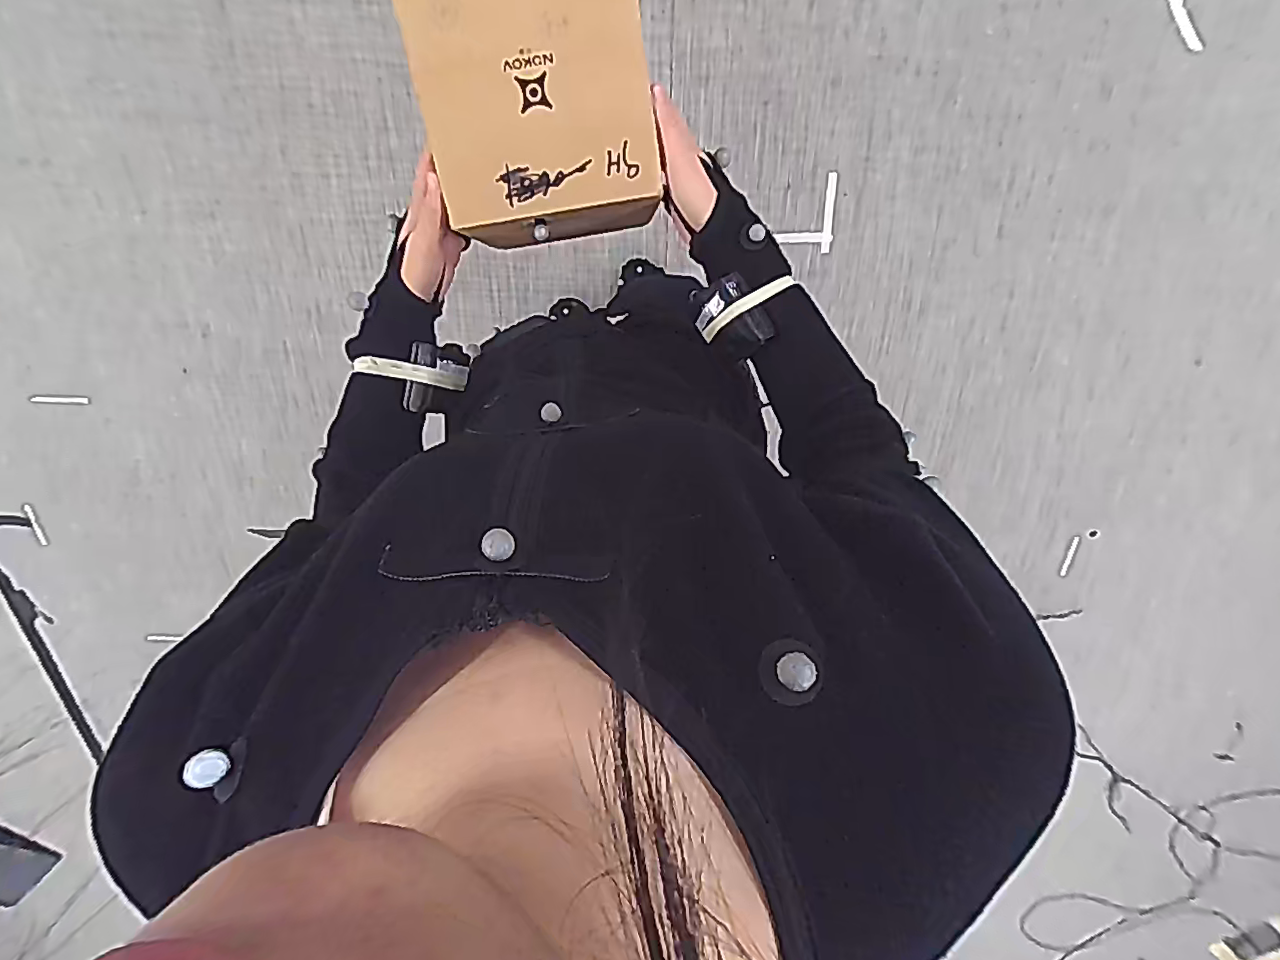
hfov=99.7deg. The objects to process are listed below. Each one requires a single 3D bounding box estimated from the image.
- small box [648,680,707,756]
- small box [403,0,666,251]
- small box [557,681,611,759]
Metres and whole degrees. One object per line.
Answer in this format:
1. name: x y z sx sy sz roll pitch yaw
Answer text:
1. small box: 0.122 0.797 1.818 0.179 0.176 0.168 4 113 -1
2. small box: -0.077 -0.306 0.457 0.168 0.176 0.179 -9 108 0
3. small box: -0.183 0.807 1.819 0.168 0.176 0.179 0 113 -1
